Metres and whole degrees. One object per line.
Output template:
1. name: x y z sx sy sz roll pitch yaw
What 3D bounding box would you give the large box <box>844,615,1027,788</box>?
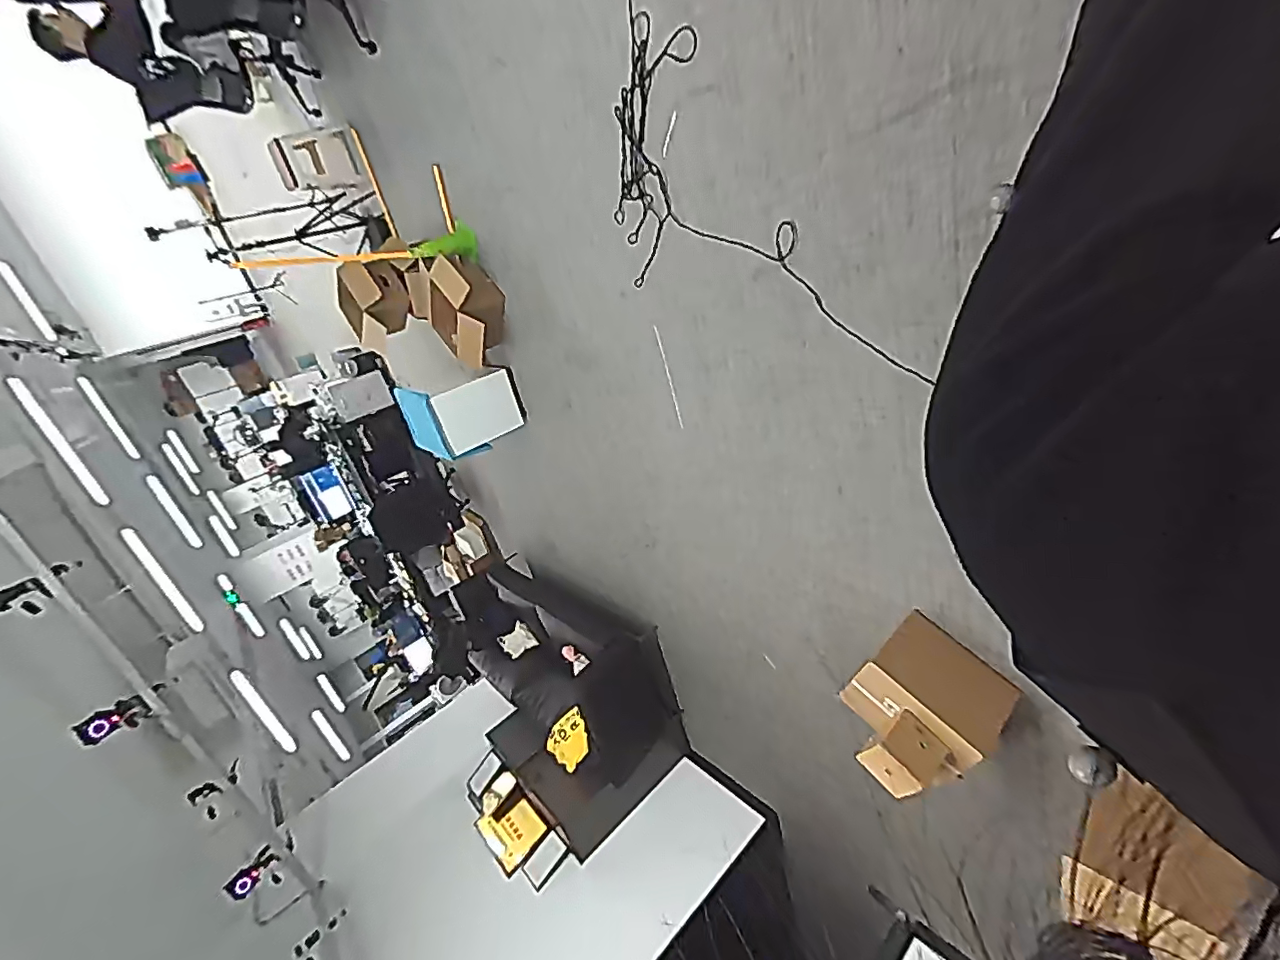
1. large box: 1.012 0.760 1.881 0.408 0.320 0.320 42 145 29

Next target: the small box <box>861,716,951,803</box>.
1. small box: 0.859 0.899 1.744 0.168 0.176 0.179 44 147 25
